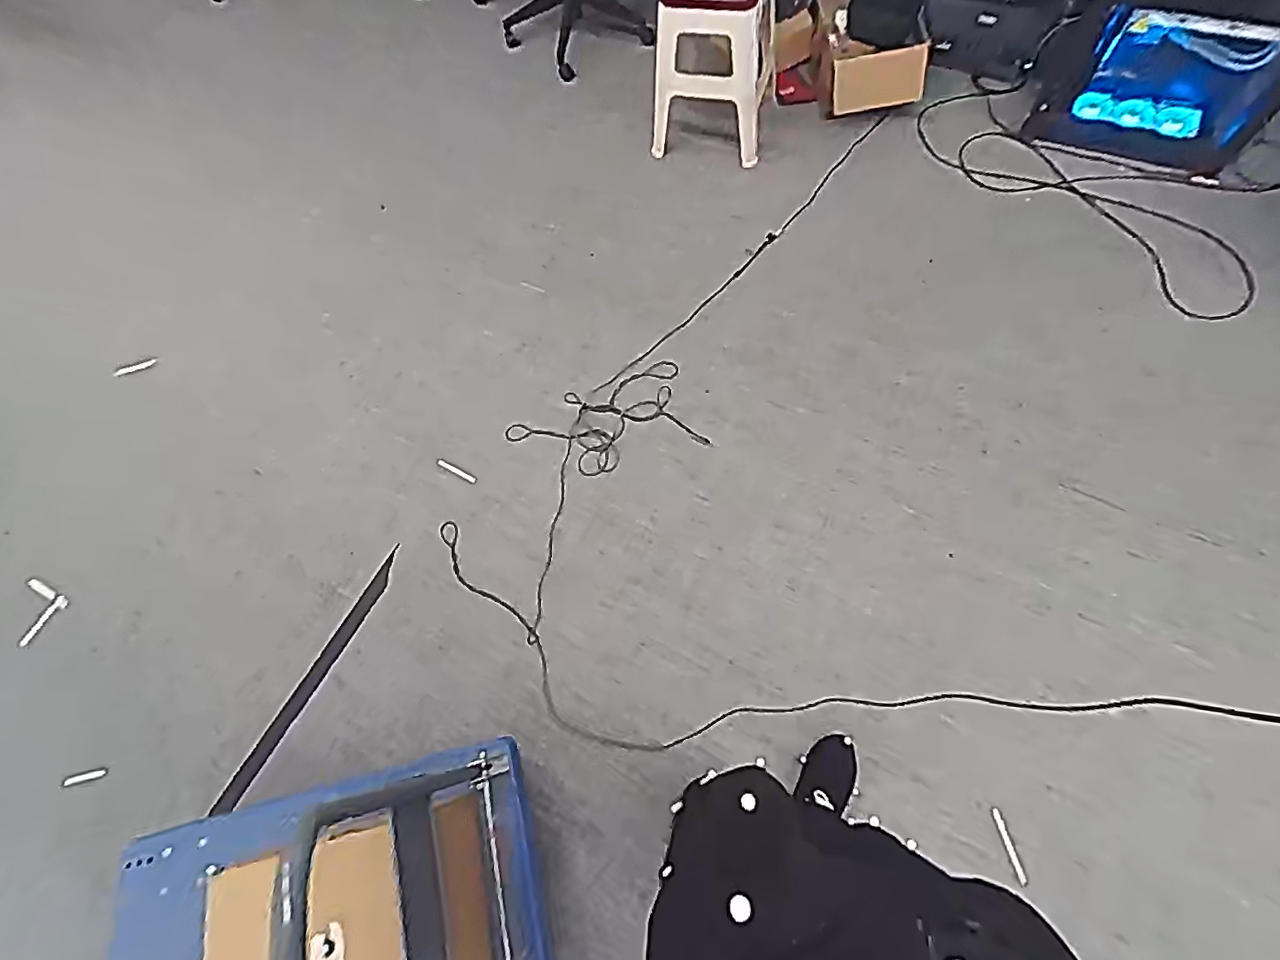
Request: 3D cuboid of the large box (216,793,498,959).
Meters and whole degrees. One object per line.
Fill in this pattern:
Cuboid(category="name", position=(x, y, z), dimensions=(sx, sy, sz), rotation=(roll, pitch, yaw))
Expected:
Cuboid(category="large box", position=(-0.452, 0.810, 0.914), dimensions=(0.320, 0.320, 0.408), rotation=(-15, 66, 0))
